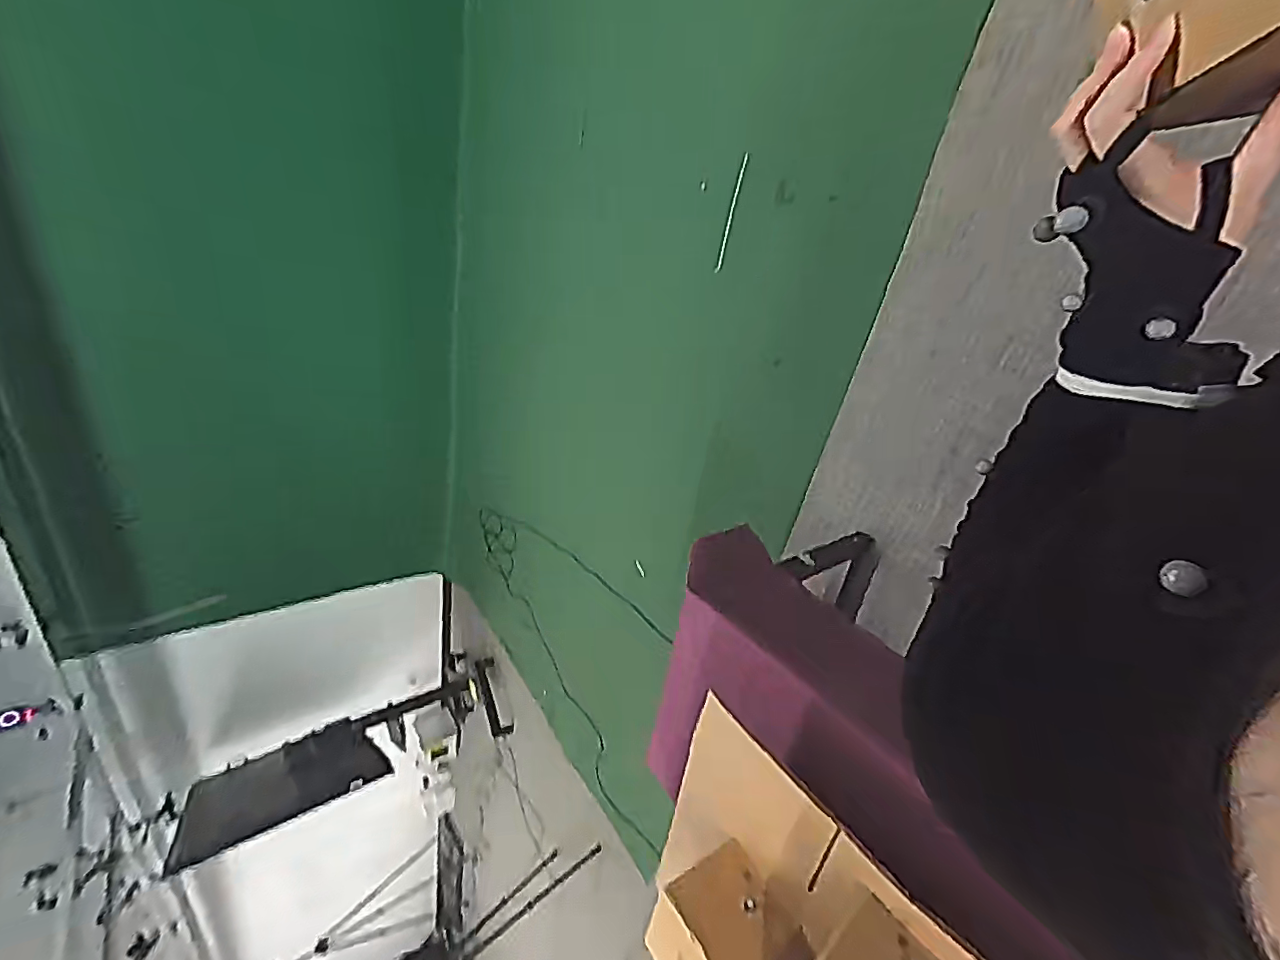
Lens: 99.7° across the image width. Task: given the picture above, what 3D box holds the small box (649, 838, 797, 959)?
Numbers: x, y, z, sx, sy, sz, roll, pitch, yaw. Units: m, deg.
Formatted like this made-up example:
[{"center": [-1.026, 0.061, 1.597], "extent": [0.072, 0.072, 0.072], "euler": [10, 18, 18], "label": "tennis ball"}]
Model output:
[{"center": [0.141, 0.771, 0.927], "extent": [0.168, 0.176, 0.179], "euler": [39, 126, 45], "label": "small box"}]
